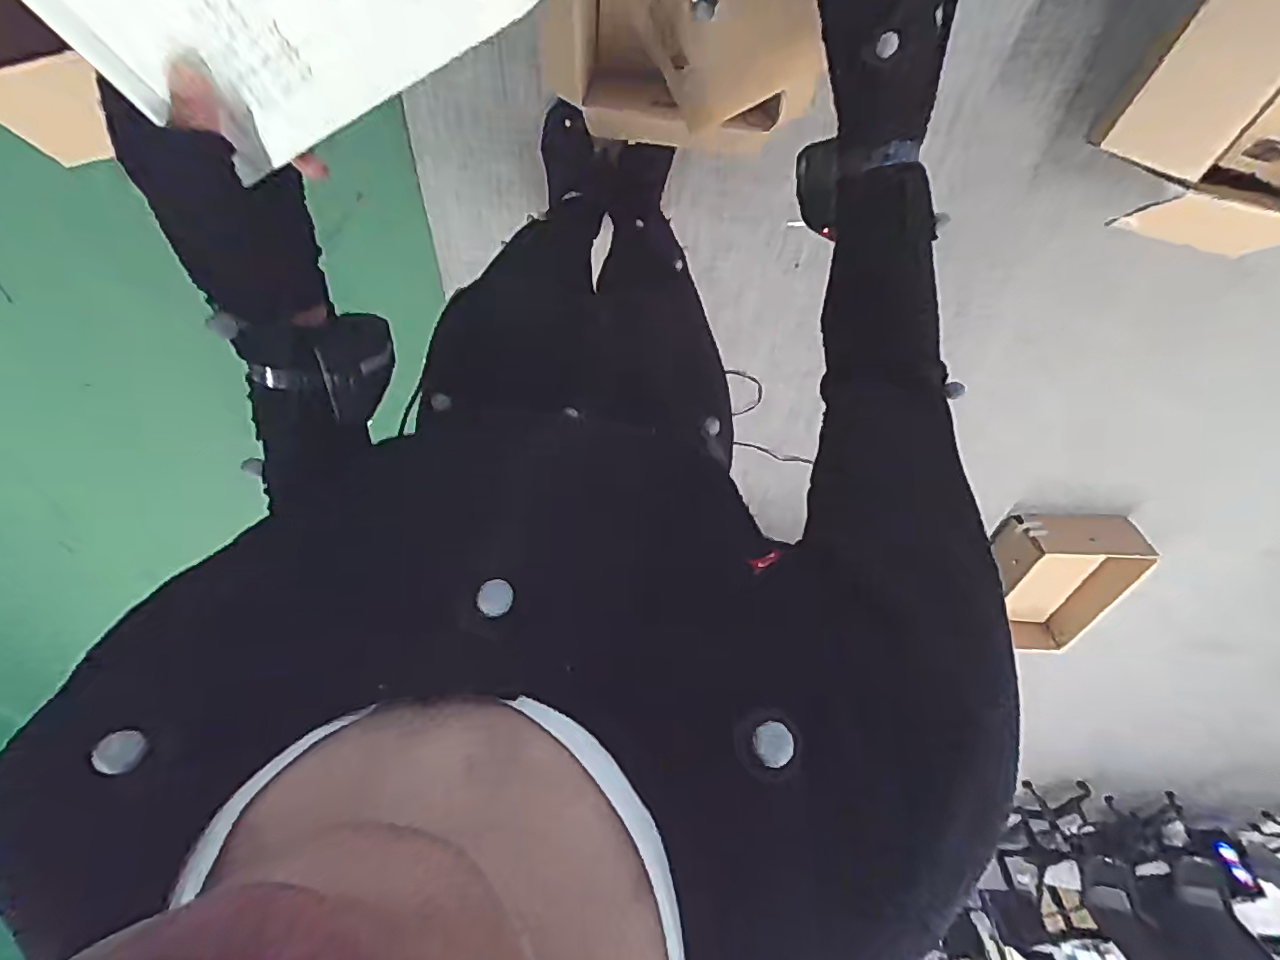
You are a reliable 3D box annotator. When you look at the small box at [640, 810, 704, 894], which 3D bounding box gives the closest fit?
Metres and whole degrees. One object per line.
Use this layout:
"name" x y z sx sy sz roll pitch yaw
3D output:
"small box" 0.088 1.082 1.575 0.168 0.176 0.179 4 131 -2
